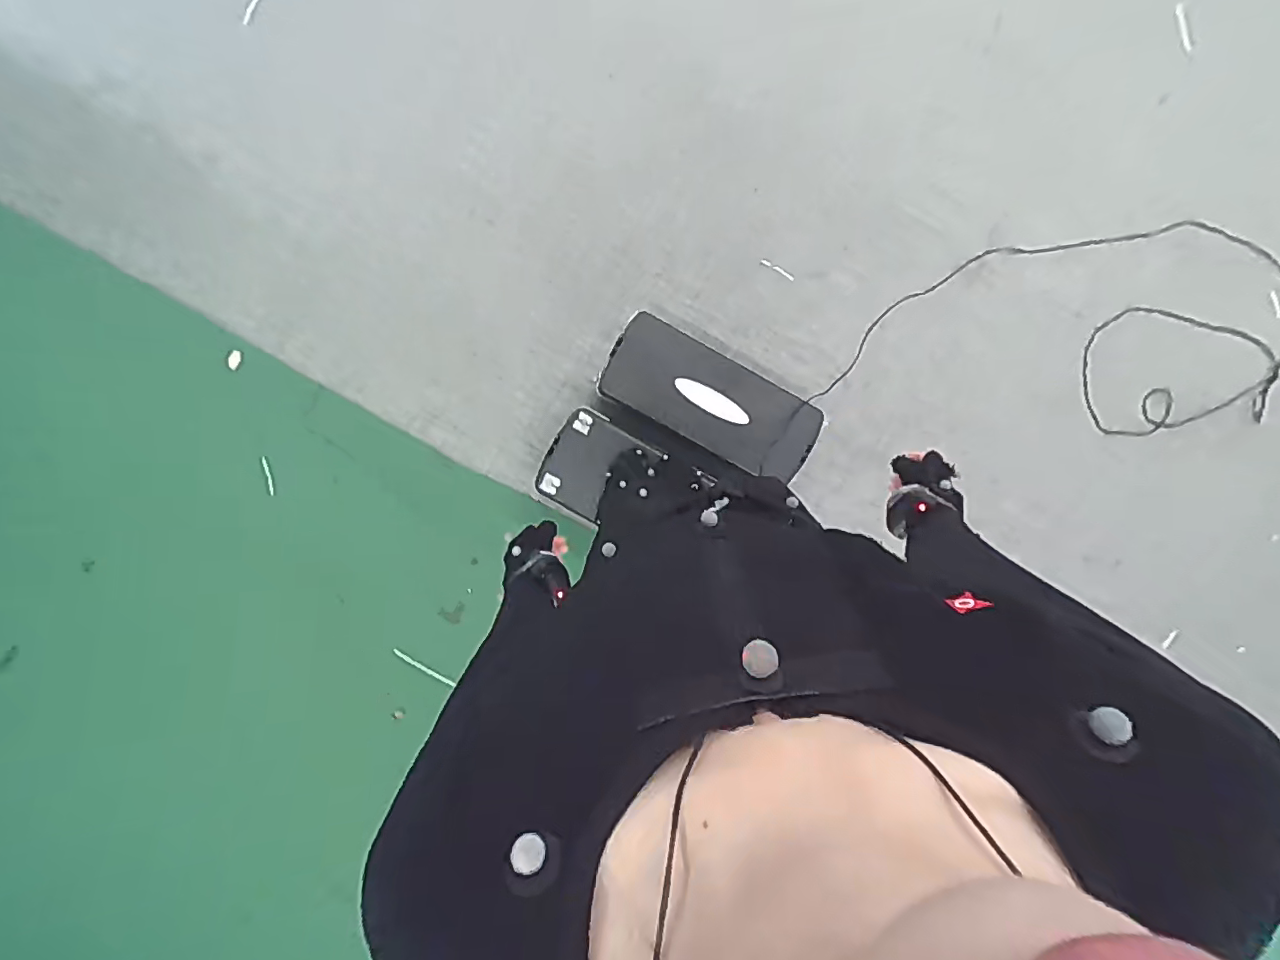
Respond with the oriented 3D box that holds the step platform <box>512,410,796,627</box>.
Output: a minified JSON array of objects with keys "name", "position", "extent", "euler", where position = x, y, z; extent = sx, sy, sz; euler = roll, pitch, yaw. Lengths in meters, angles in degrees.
[{"name":"step platform","position":[0.035,0.091,1.391],"extent":[0.684,0.204,0.286],"euler":[29,92,-3]}]
